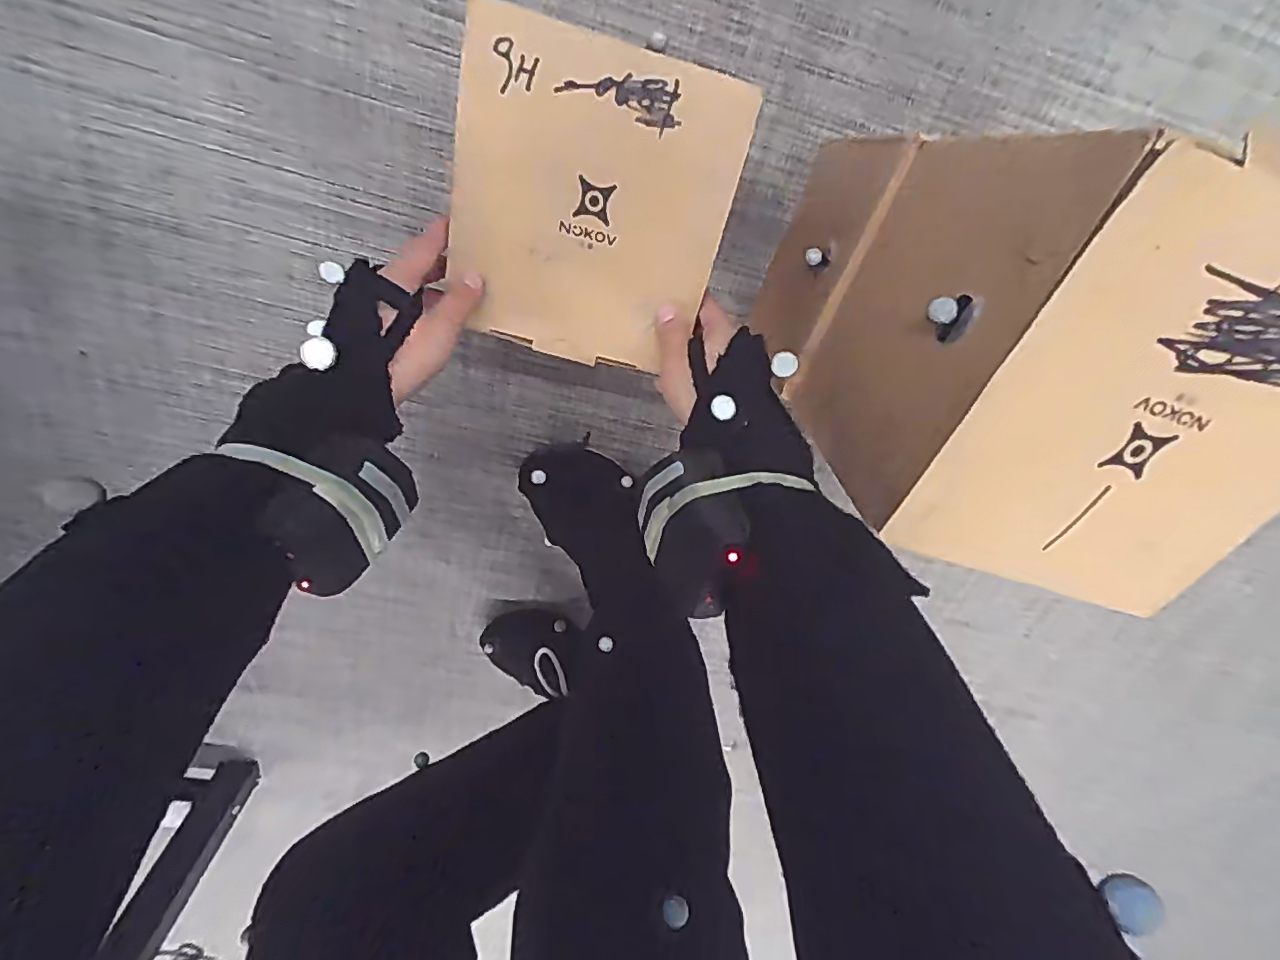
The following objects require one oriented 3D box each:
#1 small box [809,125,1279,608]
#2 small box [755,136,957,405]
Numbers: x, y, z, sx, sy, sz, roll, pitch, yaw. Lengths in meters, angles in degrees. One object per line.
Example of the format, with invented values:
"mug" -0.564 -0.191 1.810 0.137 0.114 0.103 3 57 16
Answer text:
"small box" 0.218 -0.065 0.301 0.168 0.176 0.179 17 119 -9
"small box" 0.209 -0.151 0.441 0.168 0.176 0.179 16 120 -10
